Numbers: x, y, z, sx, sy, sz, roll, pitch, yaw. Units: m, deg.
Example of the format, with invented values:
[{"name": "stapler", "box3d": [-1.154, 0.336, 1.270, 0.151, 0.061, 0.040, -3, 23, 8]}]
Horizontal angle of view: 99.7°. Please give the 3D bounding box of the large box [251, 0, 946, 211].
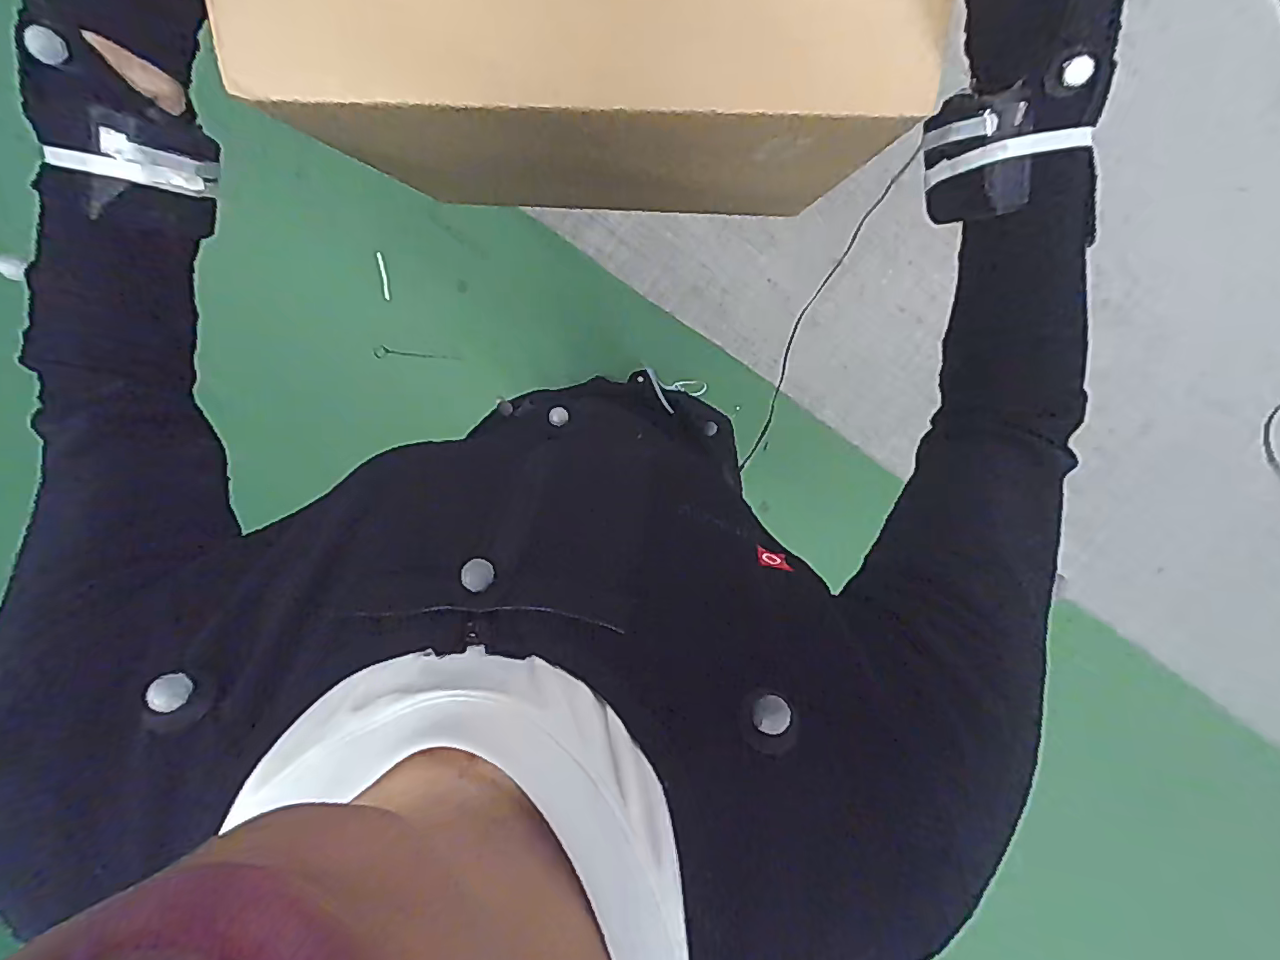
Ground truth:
[{"name": "large box", "box3d": [-0.019, -0.409, 0.422, 0.408, 0.320, 0.320, 3, 107, 2]}]
